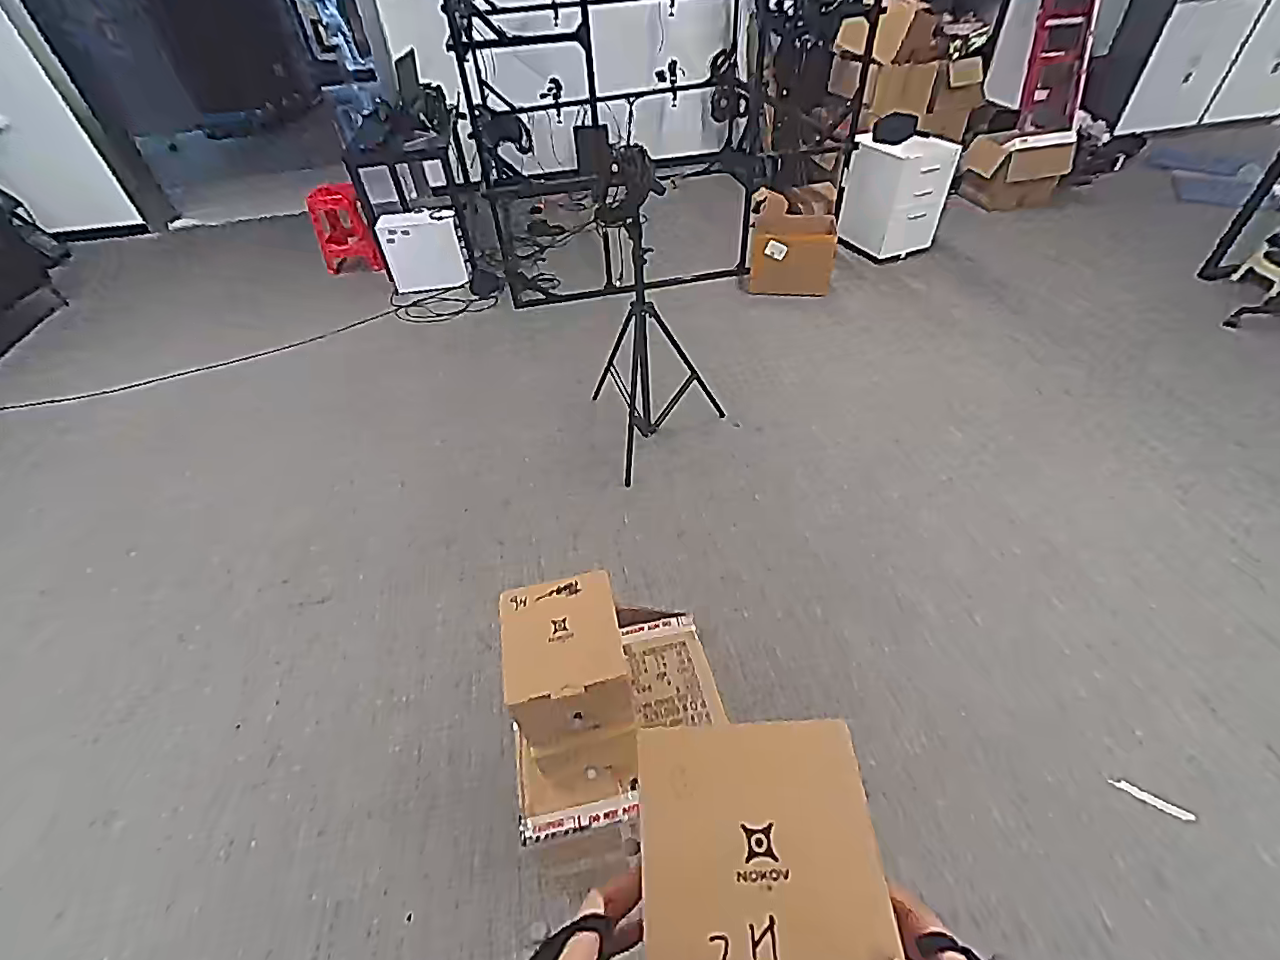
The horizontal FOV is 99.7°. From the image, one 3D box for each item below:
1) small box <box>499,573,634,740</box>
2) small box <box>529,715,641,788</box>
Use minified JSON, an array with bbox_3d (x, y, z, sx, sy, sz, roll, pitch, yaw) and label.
[{"bbox_3d":[-0.107,0.270,0.810,0.168,0.176,0.179,-11,48,-6],"label":"small box"},{"bbox_3d":[-0.098,0.392,0.920,0.168,0.176,0.179,-13,48,-7],"label":"small box"}]
